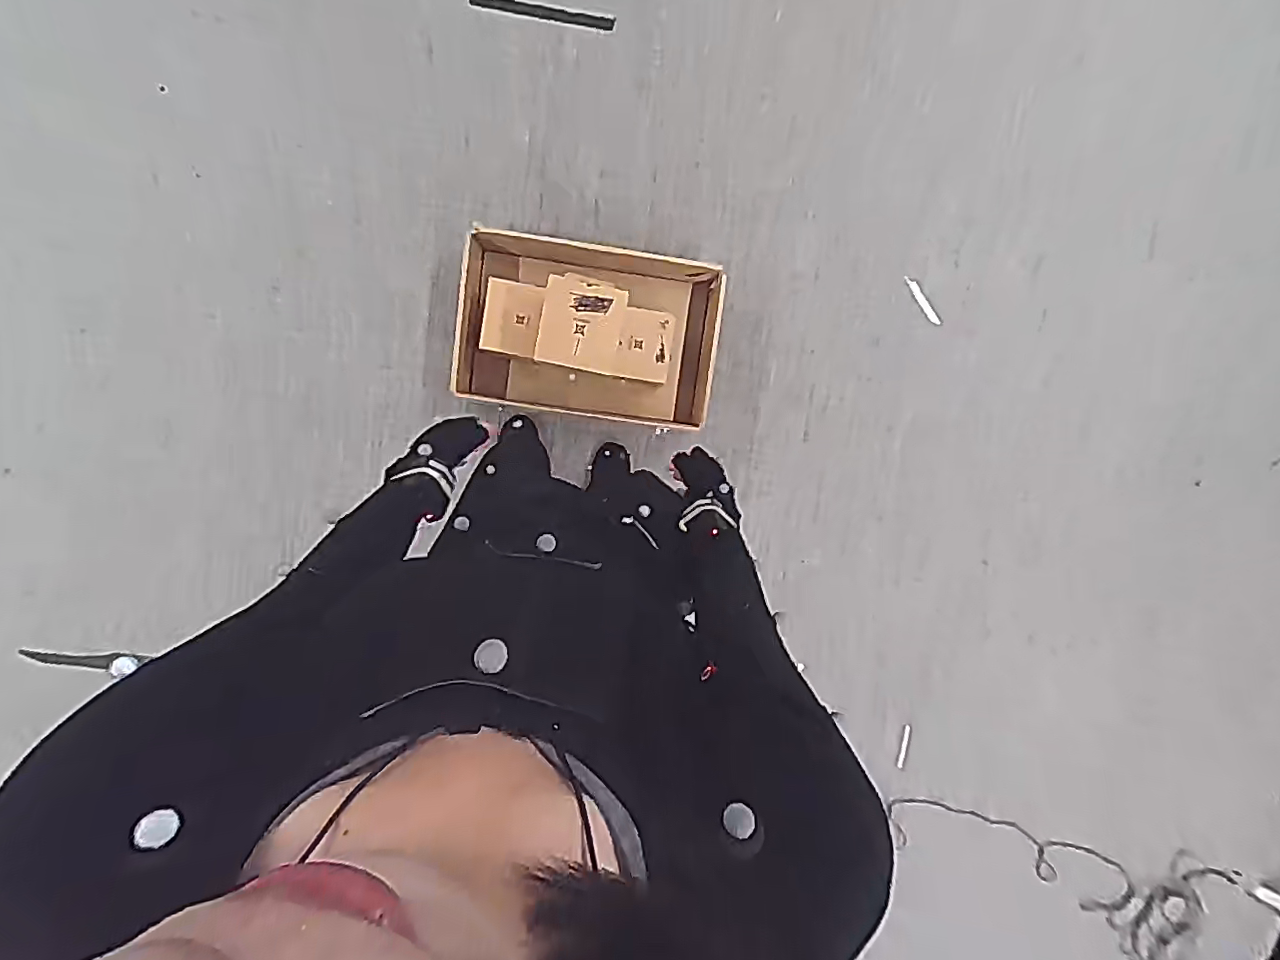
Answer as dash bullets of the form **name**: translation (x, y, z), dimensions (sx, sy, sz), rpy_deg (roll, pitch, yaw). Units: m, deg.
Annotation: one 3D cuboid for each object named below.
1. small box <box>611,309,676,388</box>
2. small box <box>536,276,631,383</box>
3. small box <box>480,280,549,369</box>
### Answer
- **small box**: translation (-0.014, -0.325, 1.352), dimensions (0.179, 0.176, 0.168), rpy_deg (8, 96, -2)
- **small box**: translation (-0.122, -0.318, 1.178), dimensions (0.168, 0.176, 0.179), rpy_deg (11, 95, -5)
- **small box**: translation (-0.275, -0.372, 1.326), dimensions (0.179, 0.176, 0.168), rpy_deg (10, 95, -5)
